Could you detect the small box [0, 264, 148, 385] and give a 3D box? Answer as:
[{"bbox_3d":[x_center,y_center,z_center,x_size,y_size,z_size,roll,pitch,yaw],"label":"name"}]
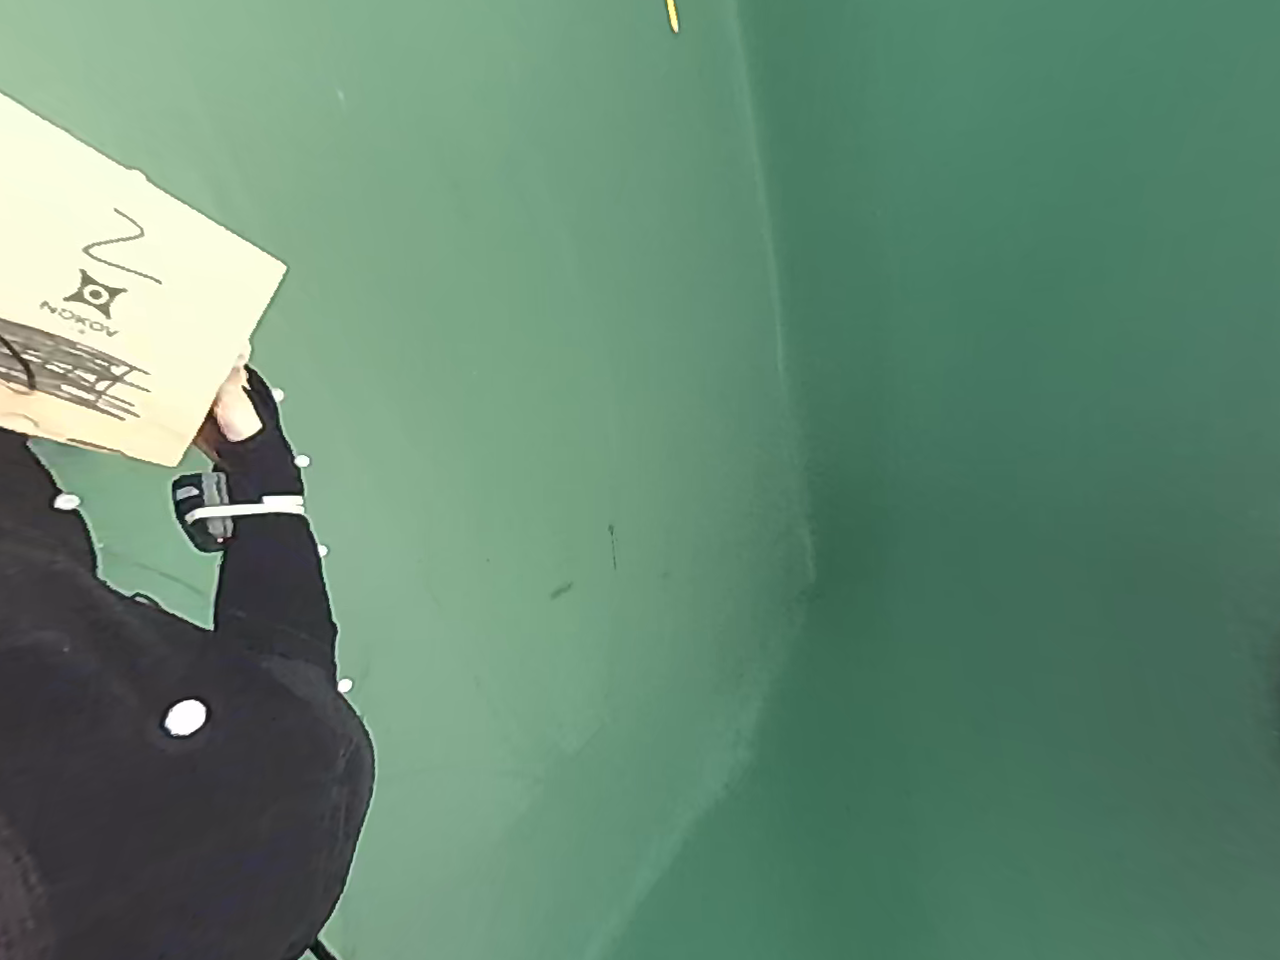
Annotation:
[{"bbox_3d":[-1.040,-0.279,0.965,0.179,0.176,0.168,-35,123,-38],"label":"small box"}]
